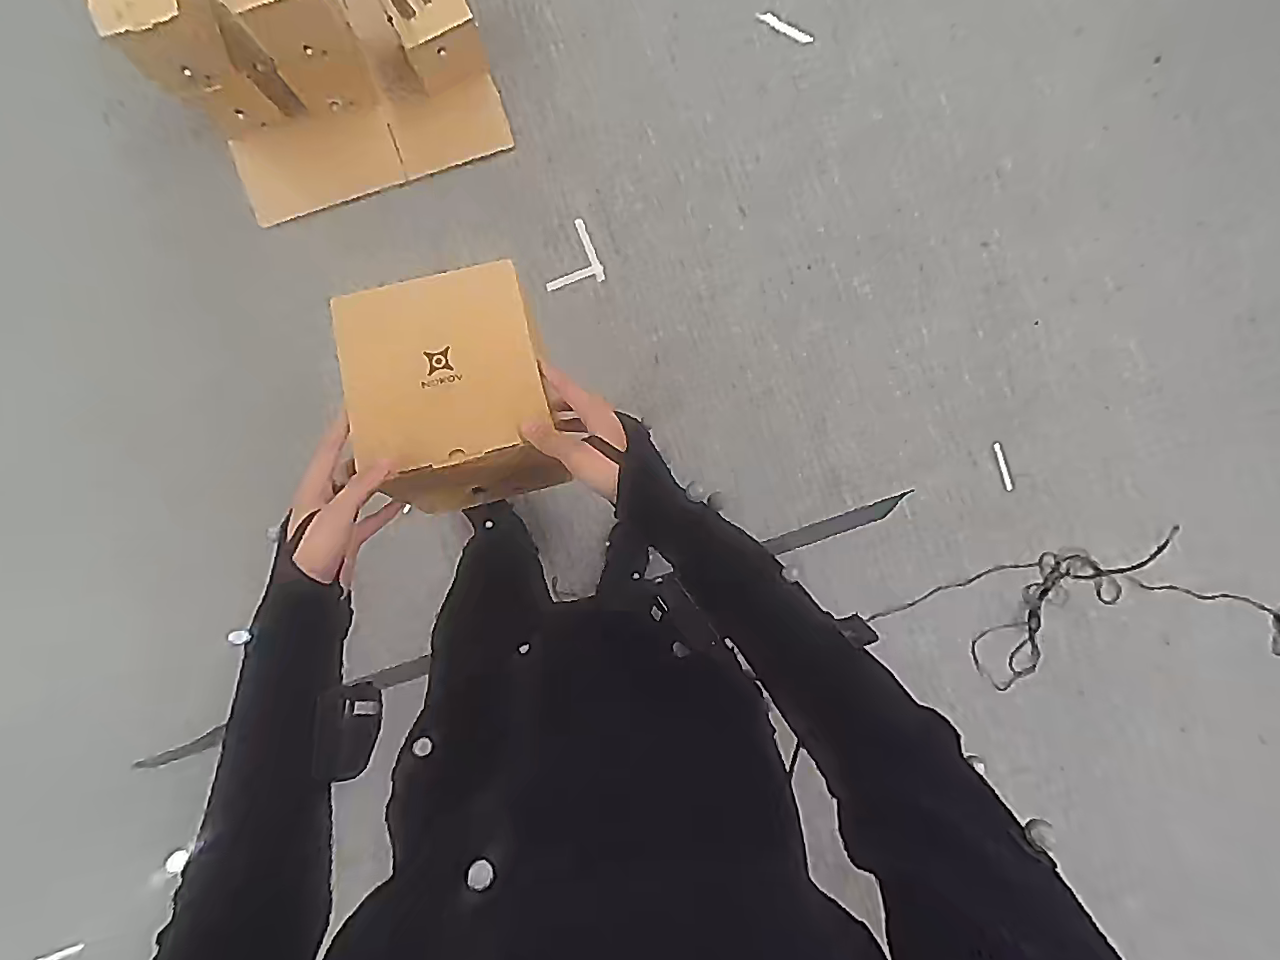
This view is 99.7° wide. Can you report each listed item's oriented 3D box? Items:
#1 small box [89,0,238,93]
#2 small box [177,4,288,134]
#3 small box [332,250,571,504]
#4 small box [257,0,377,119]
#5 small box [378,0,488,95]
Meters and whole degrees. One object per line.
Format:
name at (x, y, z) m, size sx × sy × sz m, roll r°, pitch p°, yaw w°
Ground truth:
small box at (-0.997, -0.967, 1.131) m, size 0.168 × 0.176 × 0.179 m, roll -16°, pitch 92°, yaw -1°
small box at (-0.991, -0.969, 1.297) m, size 0.168 × 0.176 × 0.179 m, roll -17°, pitch 93°, yaw -1°
small box at (-0.171, -0.089, 0.536) m, size 0.168 × 0.176 × 0.179 m, roll -14°, pitch 79°, yaw -4°
small box at (-0.768, -1.024, 1.304) m, size 0.168 × 0.176 × 0.179 m, roll -16°, pitch 92°, yaw -2°
small box at (-0.497, -1.090, 1.311) m, size 0.179 × 0.176 × 0.168 m, roll -28°, pitch 93°, yaw -1°
